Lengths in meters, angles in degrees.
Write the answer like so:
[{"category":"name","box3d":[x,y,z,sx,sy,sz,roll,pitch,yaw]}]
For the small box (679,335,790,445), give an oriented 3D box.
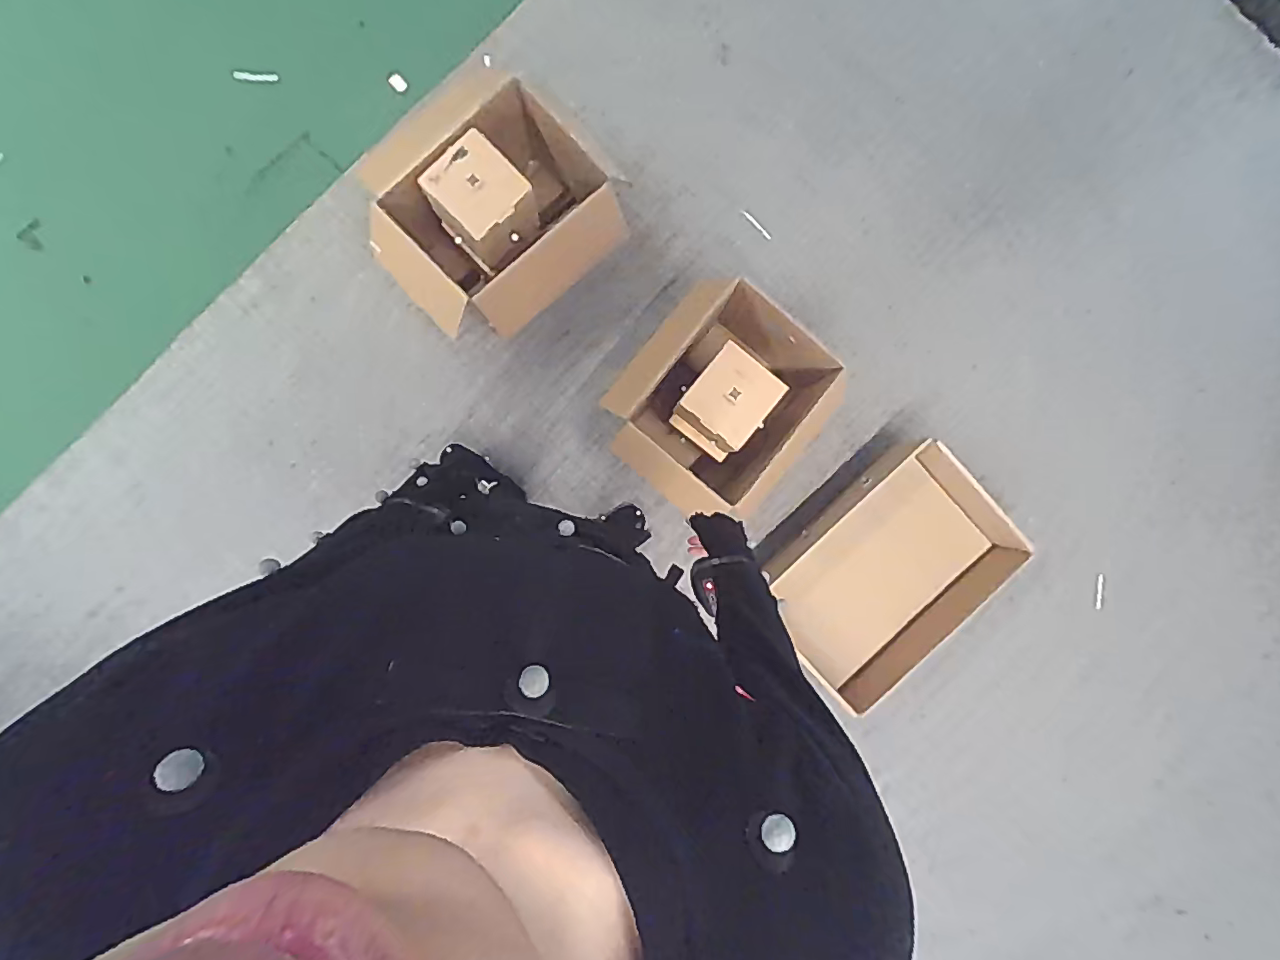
[{"category":"small box","box3d":[0.201,-0.191,1.215,0.168,0.176,0.179,39,91,-3]}]
